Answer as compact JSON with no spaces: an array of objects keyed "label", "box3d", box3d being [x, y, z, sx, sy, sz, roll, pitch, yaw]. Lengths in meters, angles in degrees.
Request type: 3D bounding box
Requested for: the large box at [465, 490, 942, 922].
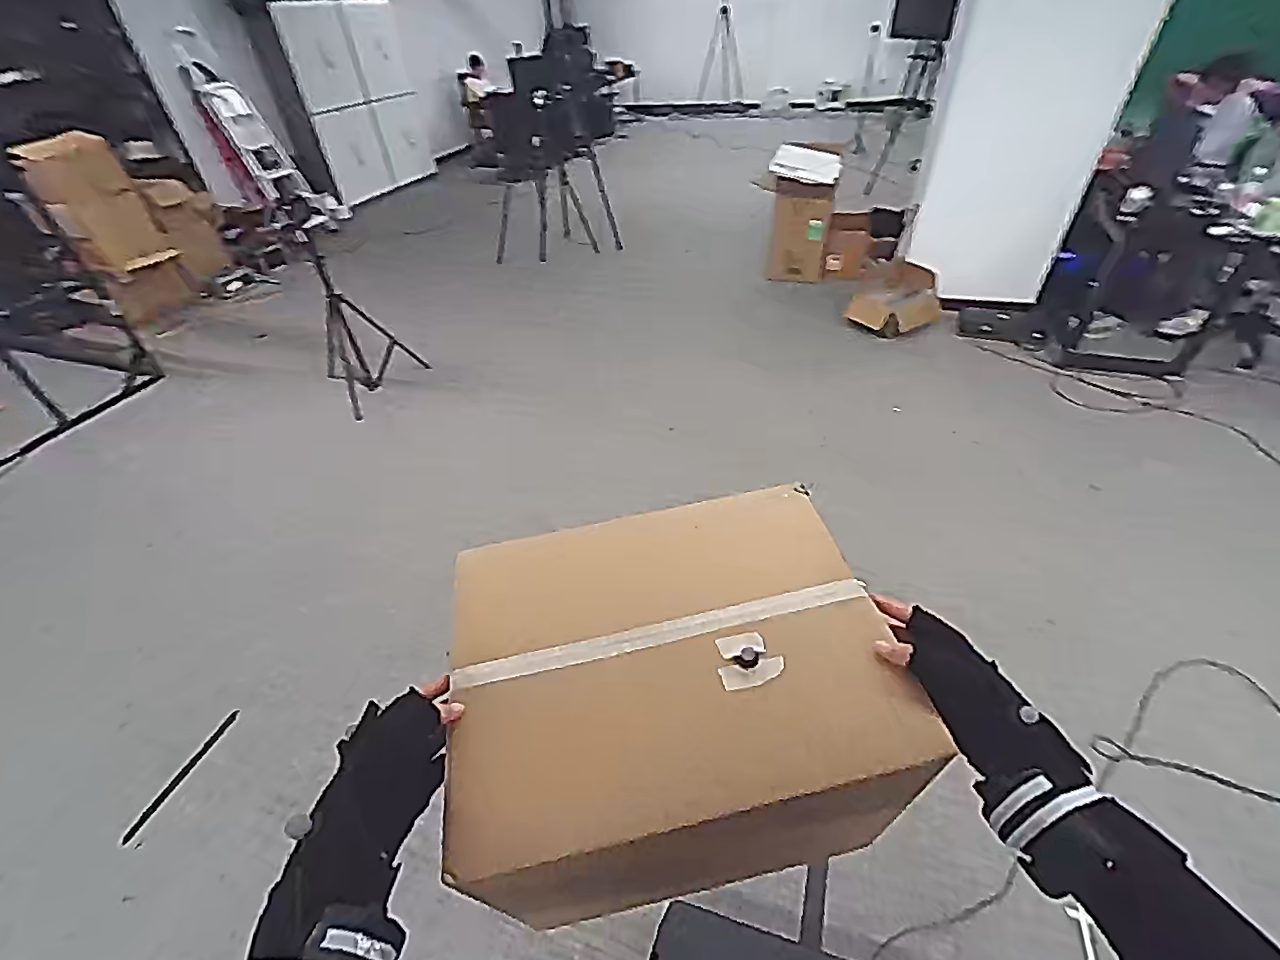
[{"label":"large box","box3d":[0.039,0.258,0.635,0.408,0.320,0.320,-11,45,-5]}]
